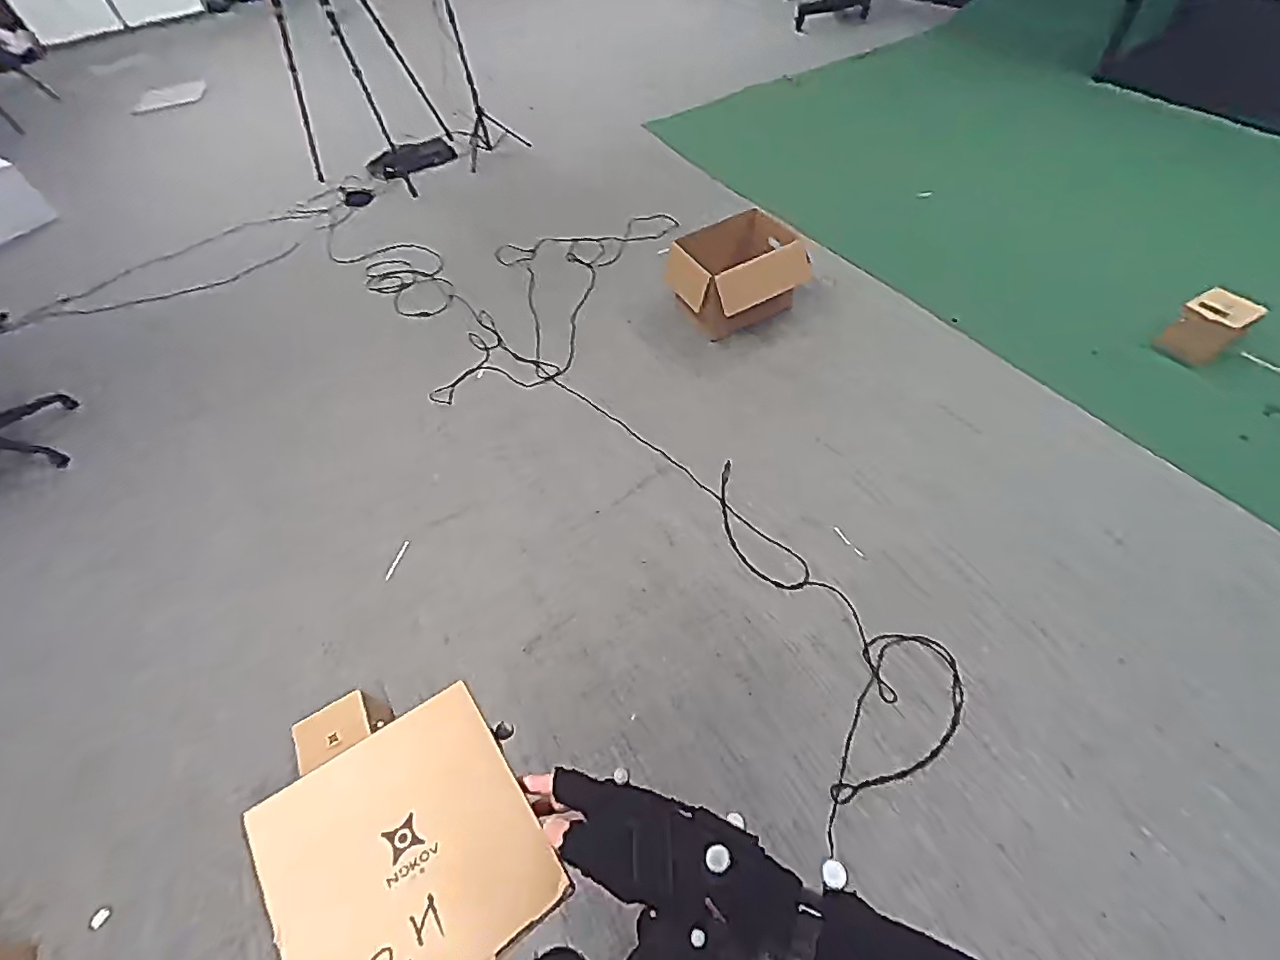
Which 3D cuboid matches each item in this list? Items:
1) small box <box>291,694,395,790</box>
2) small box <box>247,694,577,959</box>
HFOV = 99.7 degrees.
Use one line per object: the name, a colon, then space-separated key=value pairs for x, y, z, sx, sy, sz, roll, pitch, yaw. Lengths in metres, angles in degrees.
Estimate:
small box: x=-0.697 y=0.657 z=1.301 sx=0.168 sy=0.176 sz=0.179 roll=-28 pitch=56 yaw=-15
small box: x=-0.164 y=0.311 z=0.427 sx=0.168 sy=0.176 sz=0.179 roll=-27 pitch=61 yaw=-24
